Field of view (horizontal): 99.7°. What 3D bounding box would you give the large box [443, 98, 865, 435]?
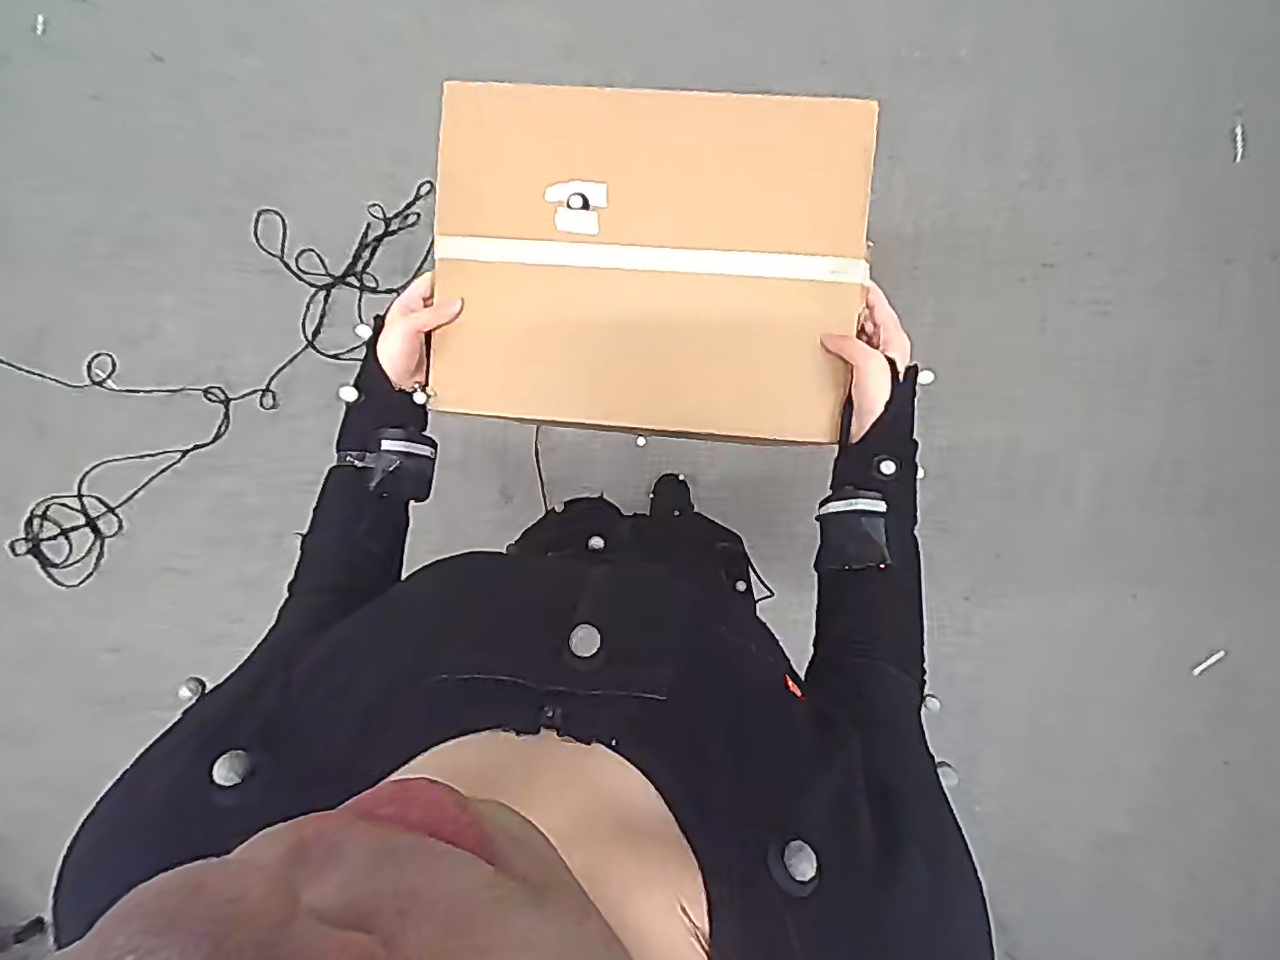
[{"bbox_3d":[0.018,-0.221,0.672,0.408,0.320,0.320,5,94,5],"label":"large box"}]
